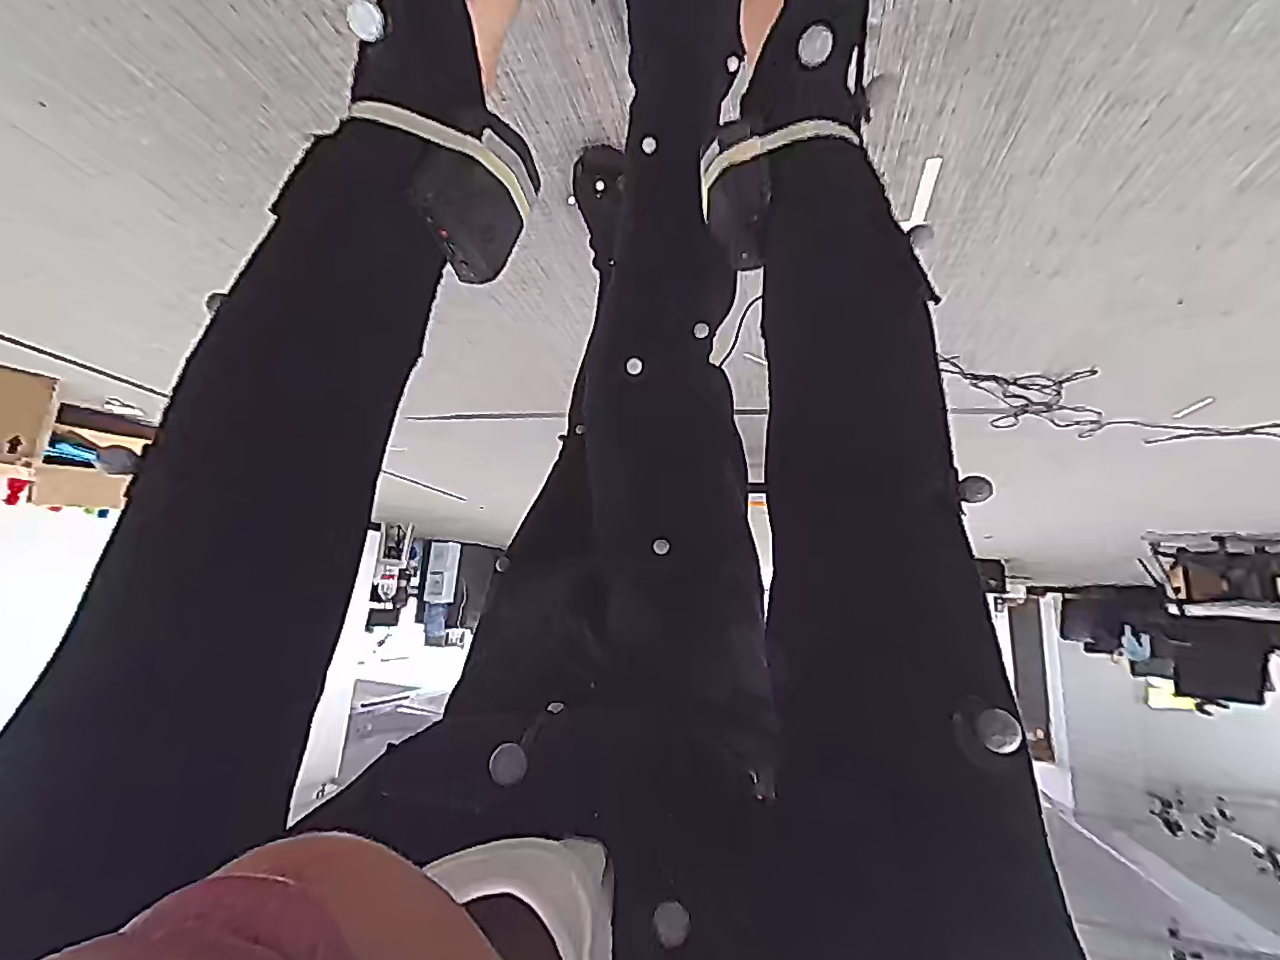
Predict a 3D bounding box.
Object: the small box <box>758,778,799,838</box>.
[{"bbox_3d":[0.599,1.411,2.340,0.168,0.176,0.179,2,167,13],"label":"small box"}]
